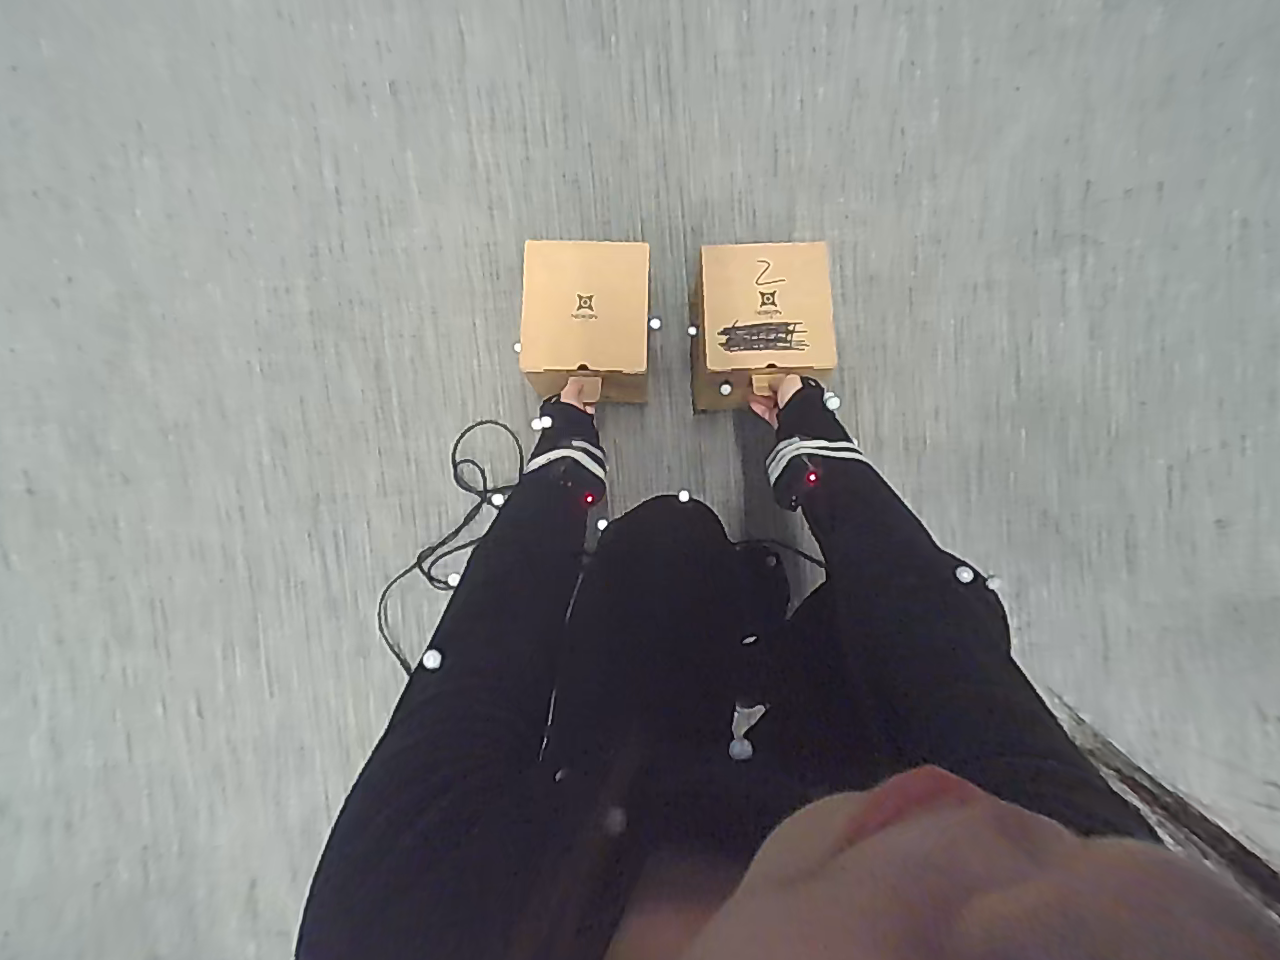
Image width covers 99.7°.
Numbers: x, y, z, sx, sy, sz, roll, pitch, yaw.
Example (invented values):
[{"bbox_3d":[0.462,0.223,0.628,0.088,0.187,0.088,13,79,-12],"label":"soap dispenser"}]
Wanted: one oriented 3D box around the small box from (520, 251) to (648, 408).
[{"bbox_3d":[-0.074,-0.210,0.790,0.168,0.176,0.179,1,87,1],"label":"small box"}]
